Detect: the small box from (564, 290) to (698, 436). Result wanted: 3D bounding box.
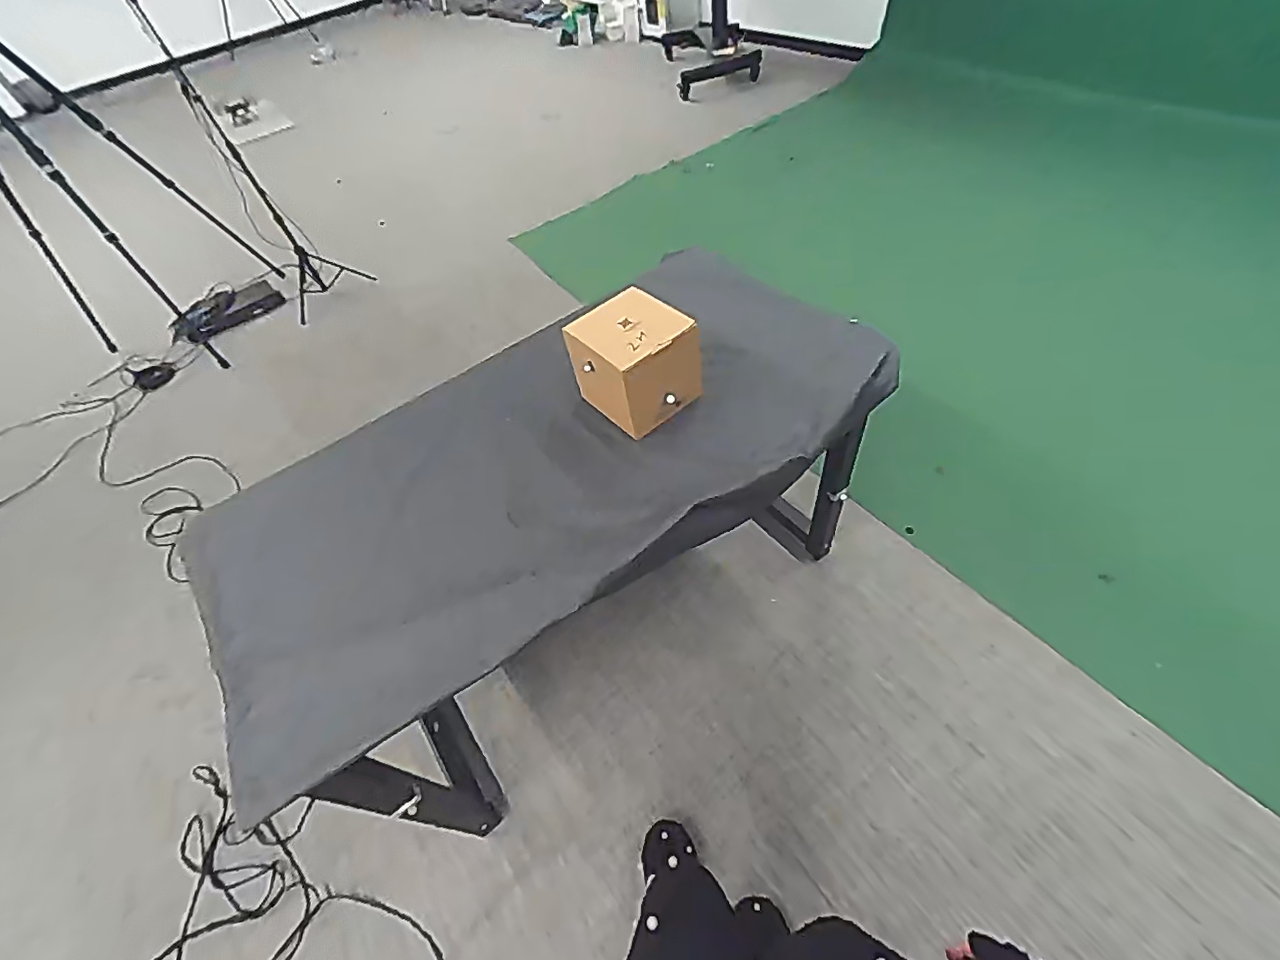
[{"bbox_3d":[-0.011,-0.212,0.993,0.168,0.176,0.179,-37,56,-18],"label":"small box"}]
